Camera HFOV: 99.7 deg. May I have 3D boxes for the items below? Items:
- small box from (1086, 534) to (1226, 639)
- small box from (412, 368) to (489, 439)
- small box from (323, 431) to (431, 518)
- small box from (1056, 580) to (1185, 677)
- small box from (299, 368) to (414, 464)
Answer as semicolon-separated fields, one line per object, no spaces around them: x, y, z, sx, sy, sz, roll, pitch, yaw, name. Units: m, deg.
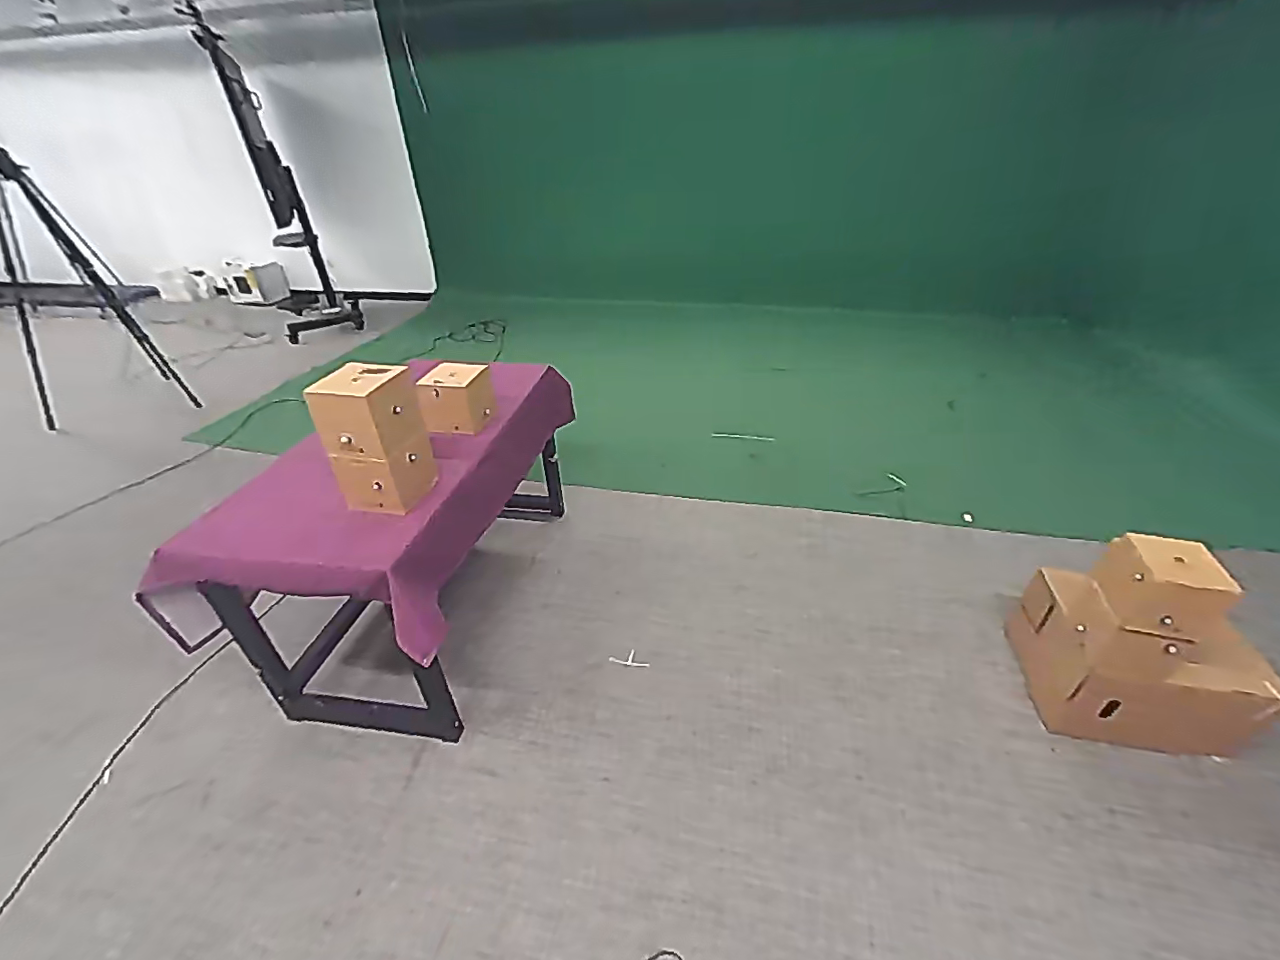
1.265;0.263;1.346;0.168;0.176;0.179;8;36;12;small box
-0.604;-0.249;1.750;0.168;0.176;0.179;5;33;11;small box
-0.670;-0.018;1.404;0.168;0.176;0.179;6;34;11;small box
1.265;0.397;1.440;0.179;0.176;0.168;7;35;12;small box
-0.676;-0.159;1.319;0.168;0.176;0.179;6;35;11;small box
